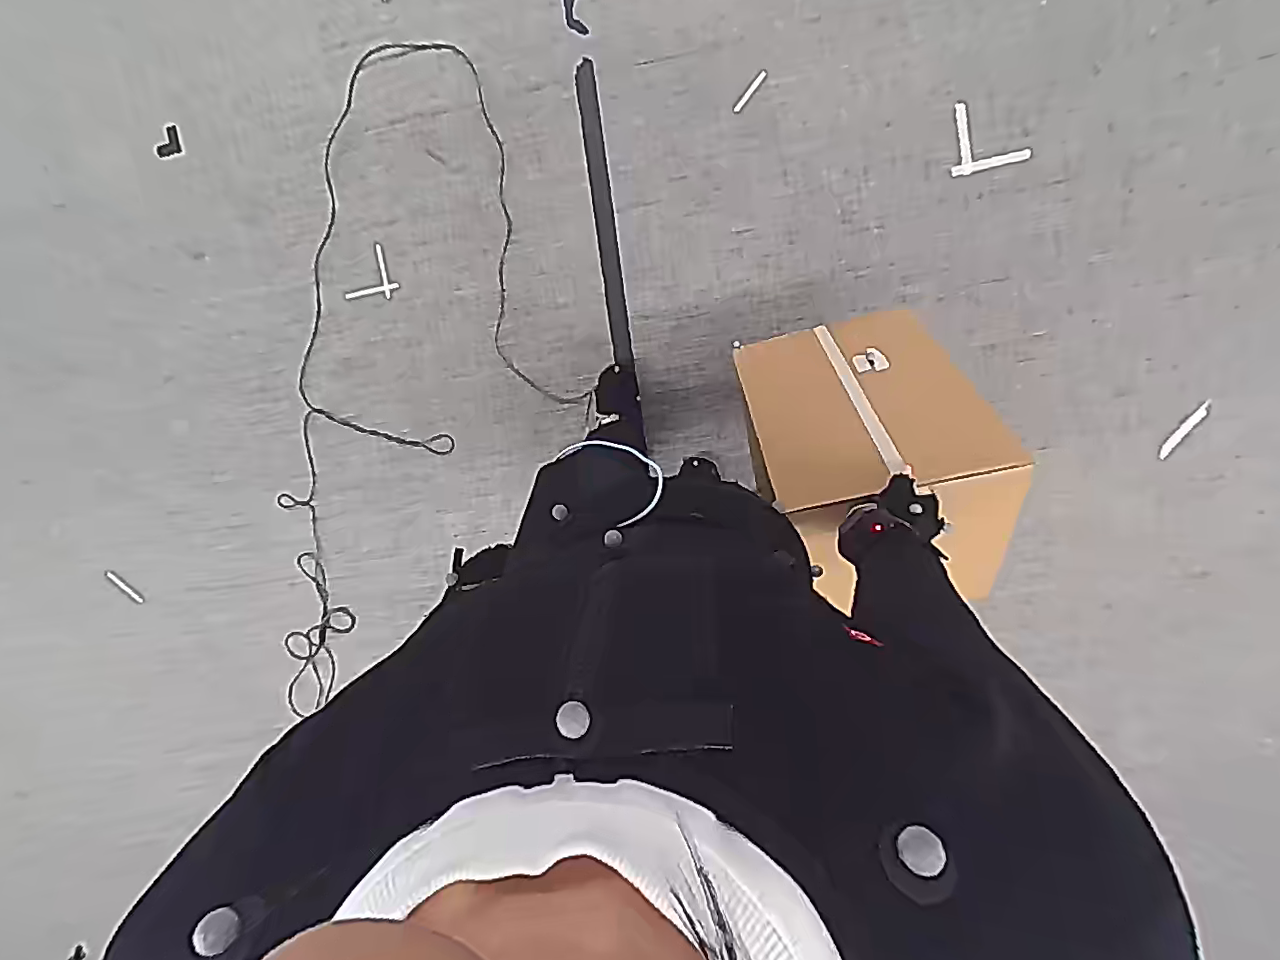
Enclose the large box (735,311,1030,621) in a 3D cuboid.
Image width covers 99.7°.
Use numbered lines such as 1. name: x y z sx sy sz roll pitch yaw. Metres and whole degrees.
1. large box: 0.373 -0.028 0.939 0.320 0.408 0.320 -12 134 8
